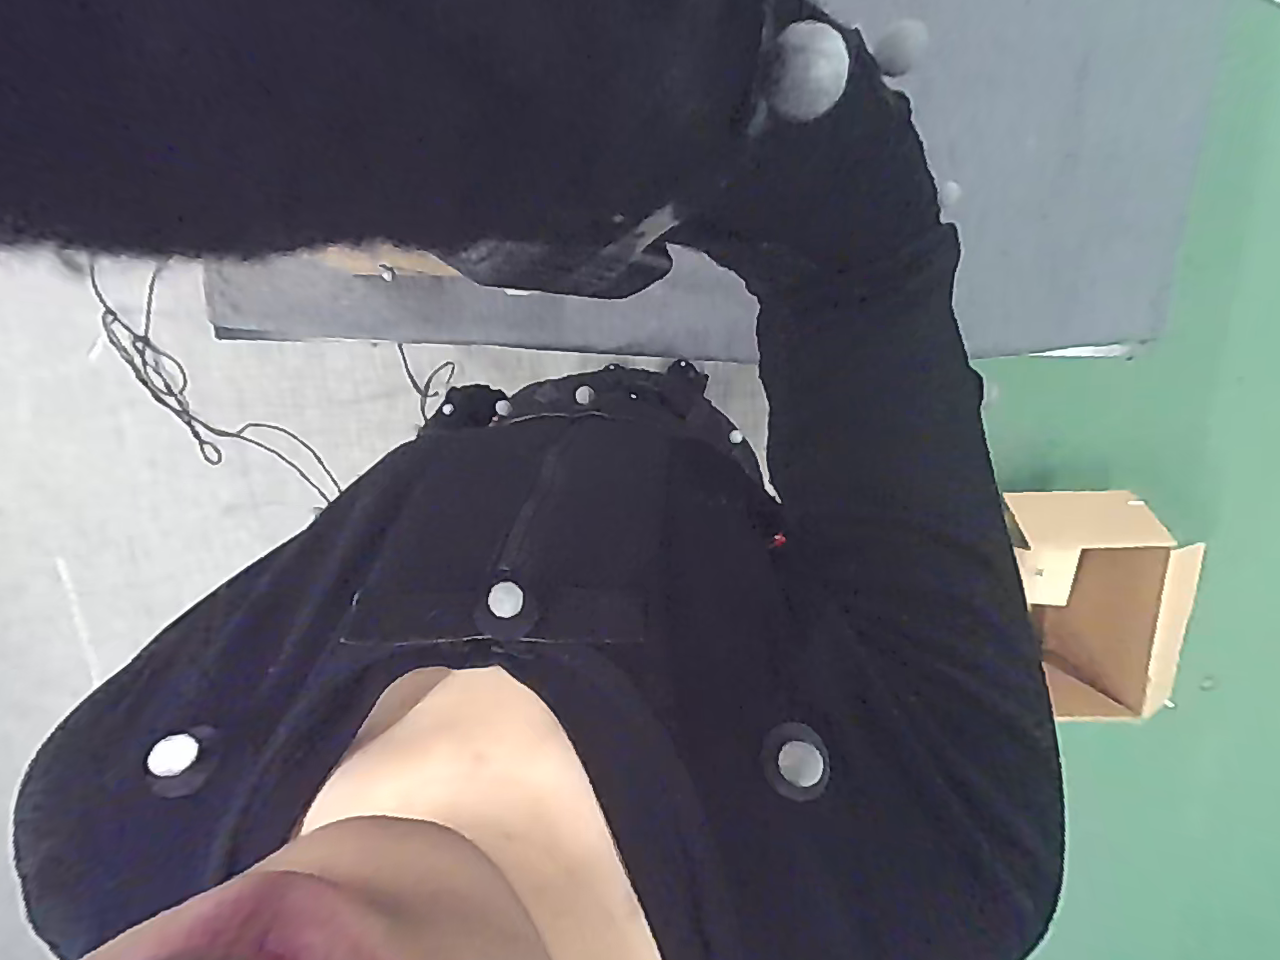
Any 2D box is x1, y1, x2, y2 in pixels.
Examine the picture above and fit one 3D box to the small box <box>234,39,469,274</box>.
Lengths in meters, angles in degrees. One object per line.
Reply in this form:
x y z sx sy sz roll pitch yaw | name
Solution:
-0.297 -0.337 0.595 0.168 0.176 0.179 2 101 3 | small box
